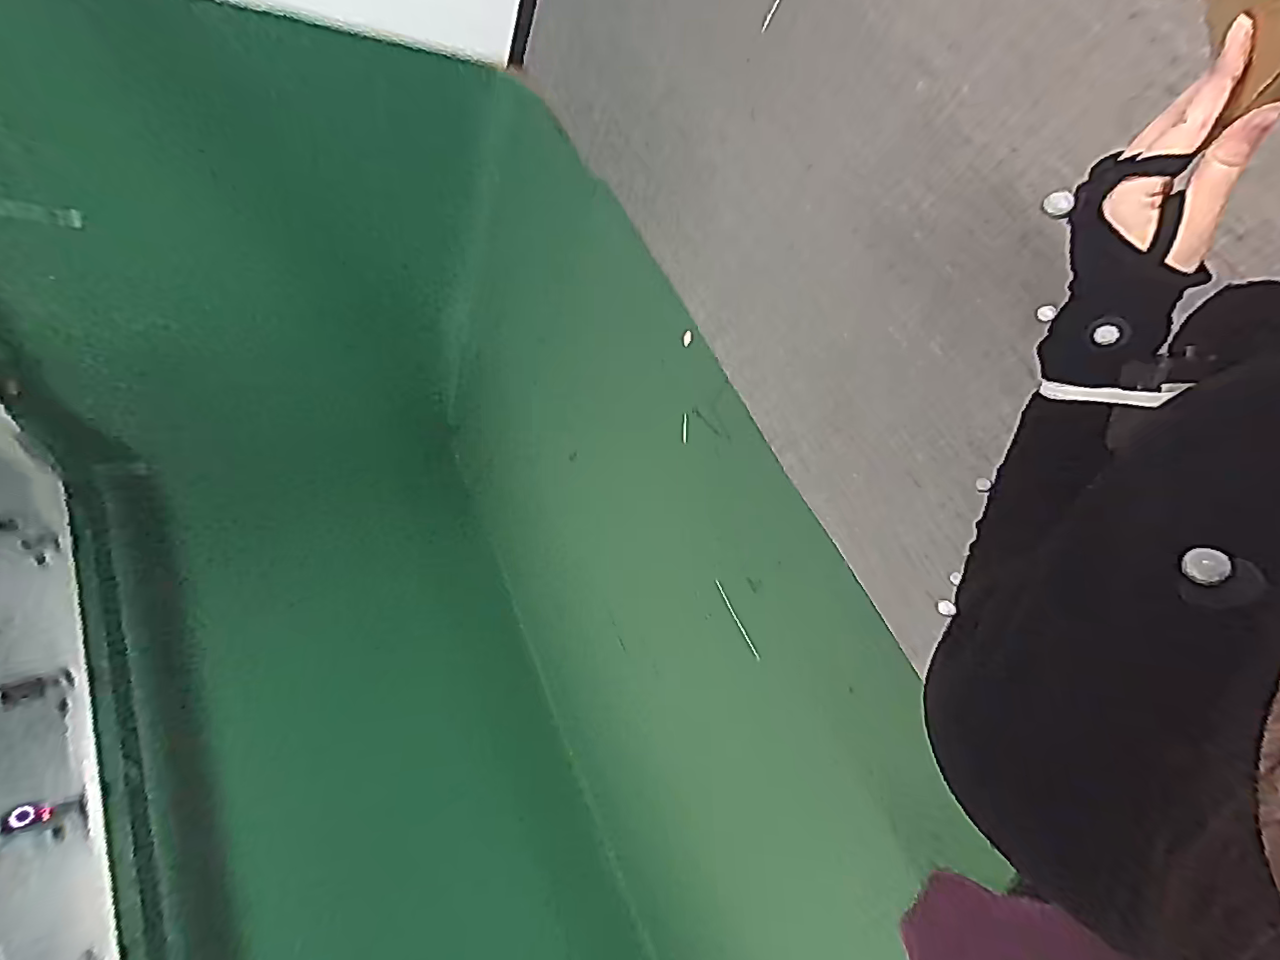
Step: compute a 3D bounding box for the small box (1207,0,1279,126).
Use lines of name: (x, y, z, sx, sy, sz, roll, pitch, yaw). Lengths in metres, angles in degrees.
small box: (0.351, -0.278, 0.188, 0.179, 0.168, 0.176, -4, 92, 28)
